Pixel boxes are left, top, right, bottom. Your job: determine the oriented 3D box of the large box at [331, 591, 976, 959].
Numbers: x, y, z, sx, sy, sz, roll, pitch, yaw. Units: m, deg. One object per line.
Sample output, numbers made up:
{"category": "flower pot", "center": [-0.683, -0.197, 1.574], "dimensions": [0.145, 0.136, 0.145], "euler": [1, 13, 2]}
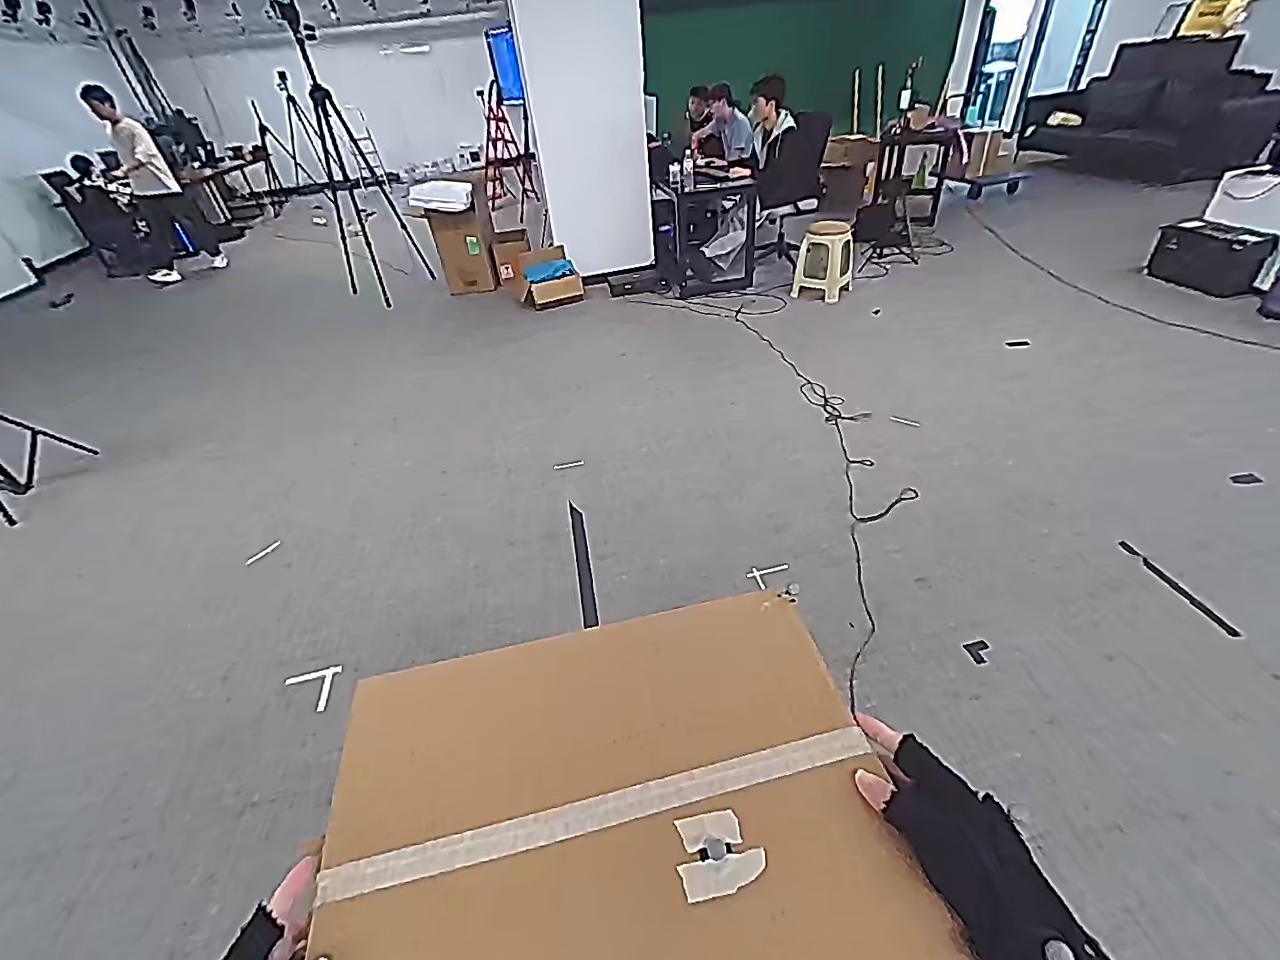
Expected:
{"category": "large box", "center": [-0.011, 0.357, 0.506], "dimensions": [0.408, 0.320, 0.320], "euler": [-10, 42, -8]}
